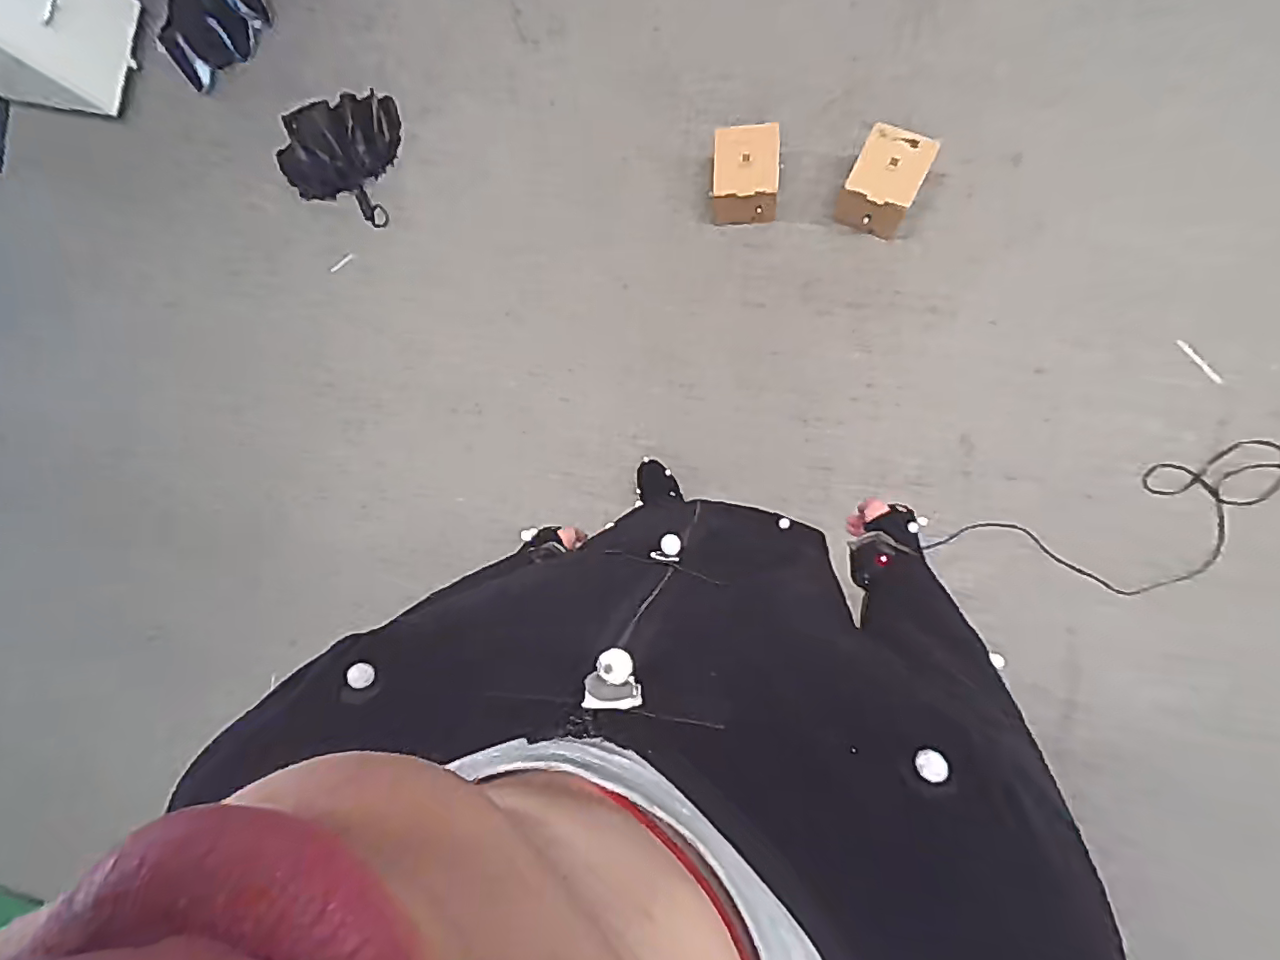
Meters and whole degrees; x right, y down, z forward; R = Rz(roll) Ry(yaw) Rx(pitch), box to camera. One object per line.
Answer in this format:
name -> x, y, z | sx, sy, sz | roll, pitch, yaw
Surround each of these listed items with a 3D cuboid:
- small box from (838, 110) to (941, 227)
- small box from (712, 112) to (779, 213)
small box -> 0.618, -0.776, 1.366 | 0.168, 0.176, 0.179 | 26, 95, 10
small box -> 0.278, -0.829, 1.434 | 0.168, 0.176, 0.179 | 0, 89, 10
